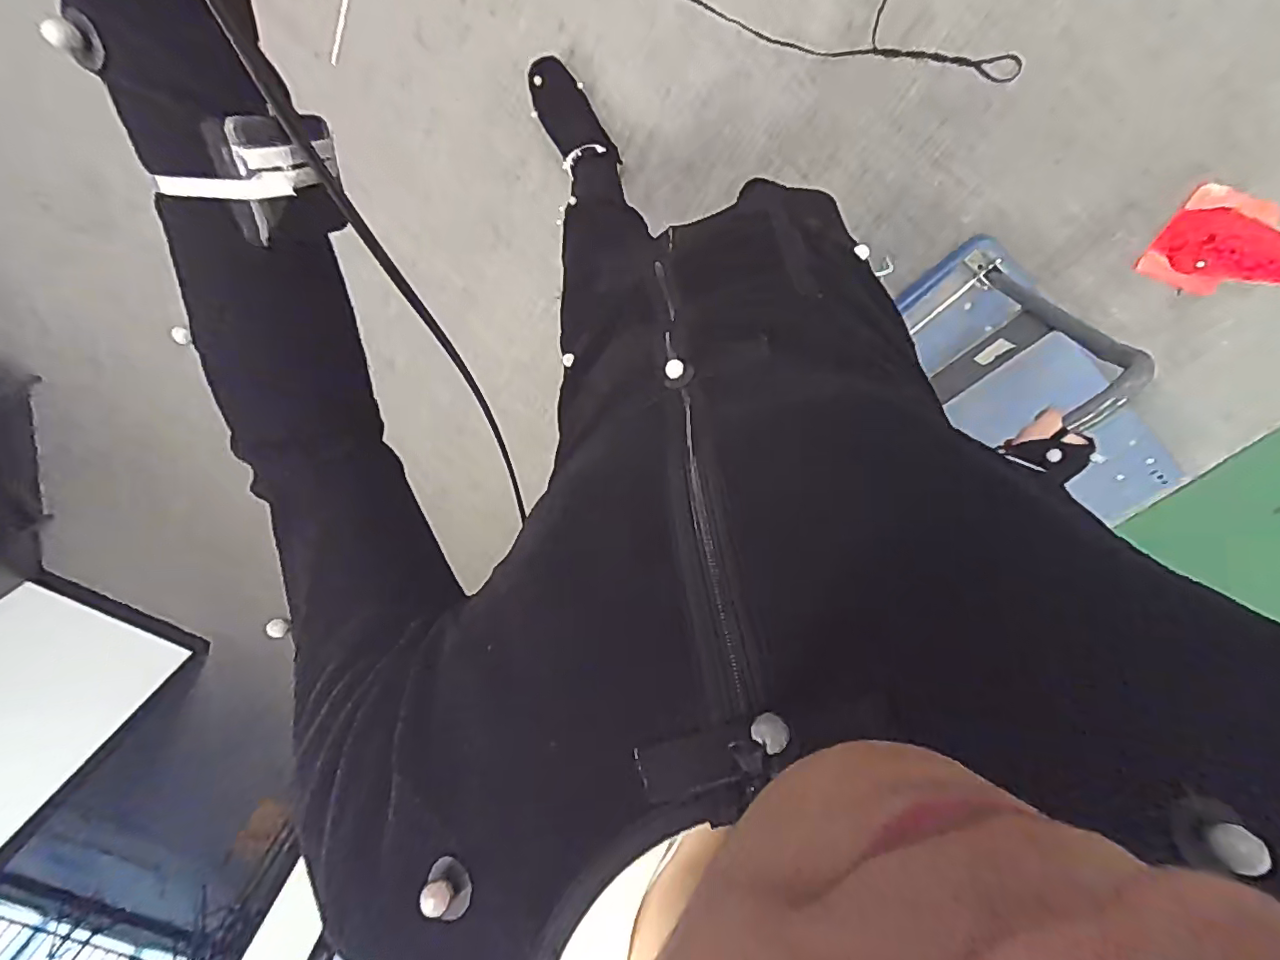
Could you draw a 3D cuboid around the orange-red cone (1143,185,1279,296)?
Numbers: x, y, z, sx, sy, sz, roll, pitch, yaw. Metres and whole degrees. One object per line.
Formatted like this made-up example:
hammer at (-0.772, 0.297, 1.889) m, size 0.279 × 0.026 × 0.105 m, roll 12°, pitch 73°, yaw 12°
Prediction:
orange-red cone at (1.269, -0.444, 1.083) m, size 0.198 × 0.360 × 0.199 m, roll 19°, pitch 124°, yaw -4°
